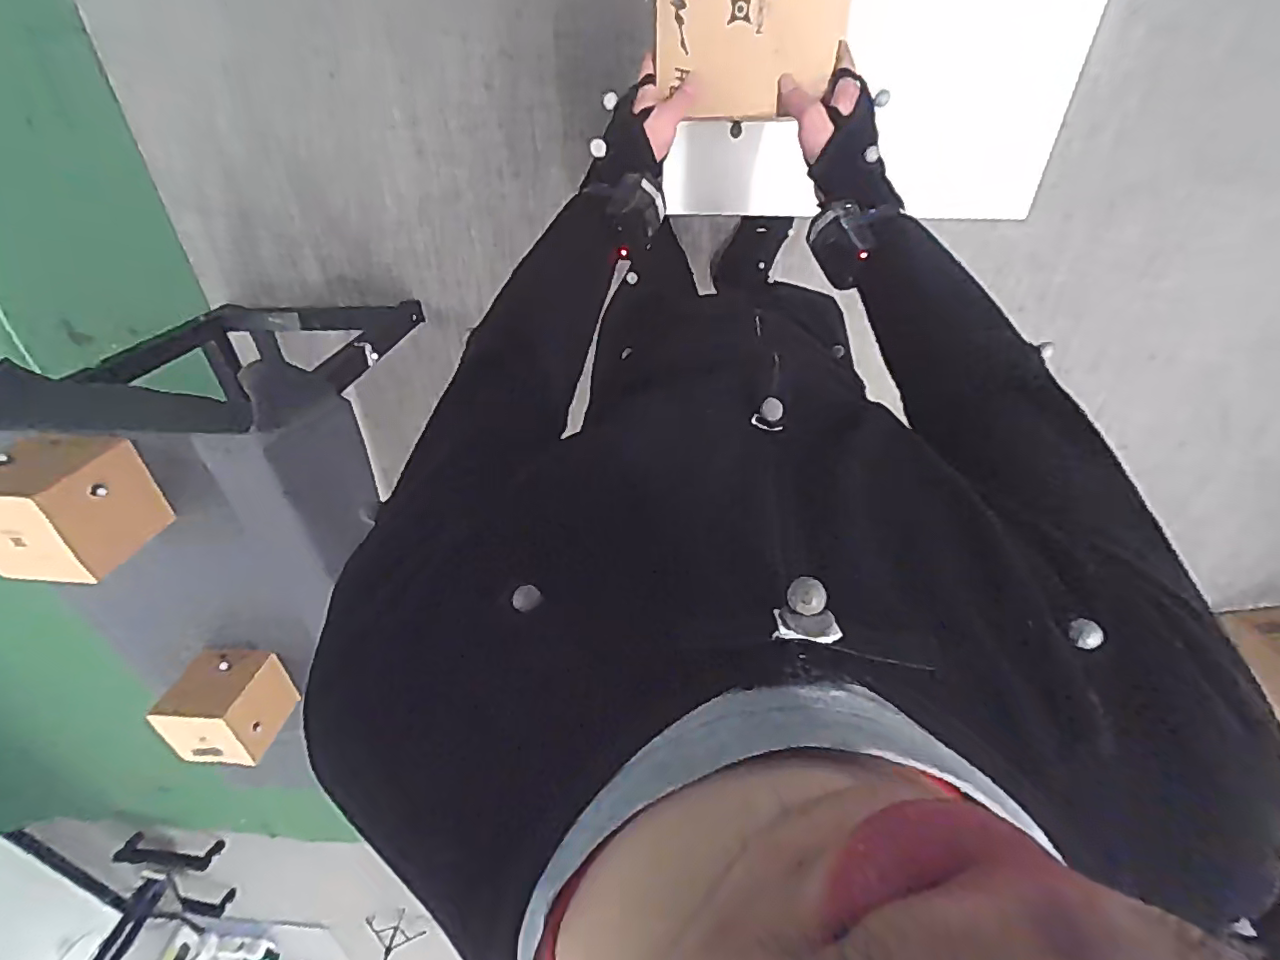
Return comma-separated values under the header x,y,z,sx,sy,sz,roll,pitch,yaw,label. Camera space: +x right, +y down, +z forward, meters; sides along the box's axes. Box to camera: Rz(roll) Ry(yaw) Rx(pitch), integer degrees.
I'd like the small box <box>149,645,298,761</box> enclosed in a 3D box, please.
x,y,z,sx,sy,sz,roll,pitch,yaw,label
-0.903,0.491,1.197,0.168,0.176,0.179,2,124,3,small box

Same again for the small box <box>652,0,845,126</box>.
x,y,z,sx,sy,sz,roll,pitch,yaw,label
0.106,-0.471,0.562,0.179,0.176,0.168,3,122,5,small box

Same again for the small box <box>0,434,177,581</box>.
x,y,z,sx,sy,sz,roll,pitch,yaw,label
-0.928,0.040,0.881,0.168,0.176,0.179,4,127,3,small box
